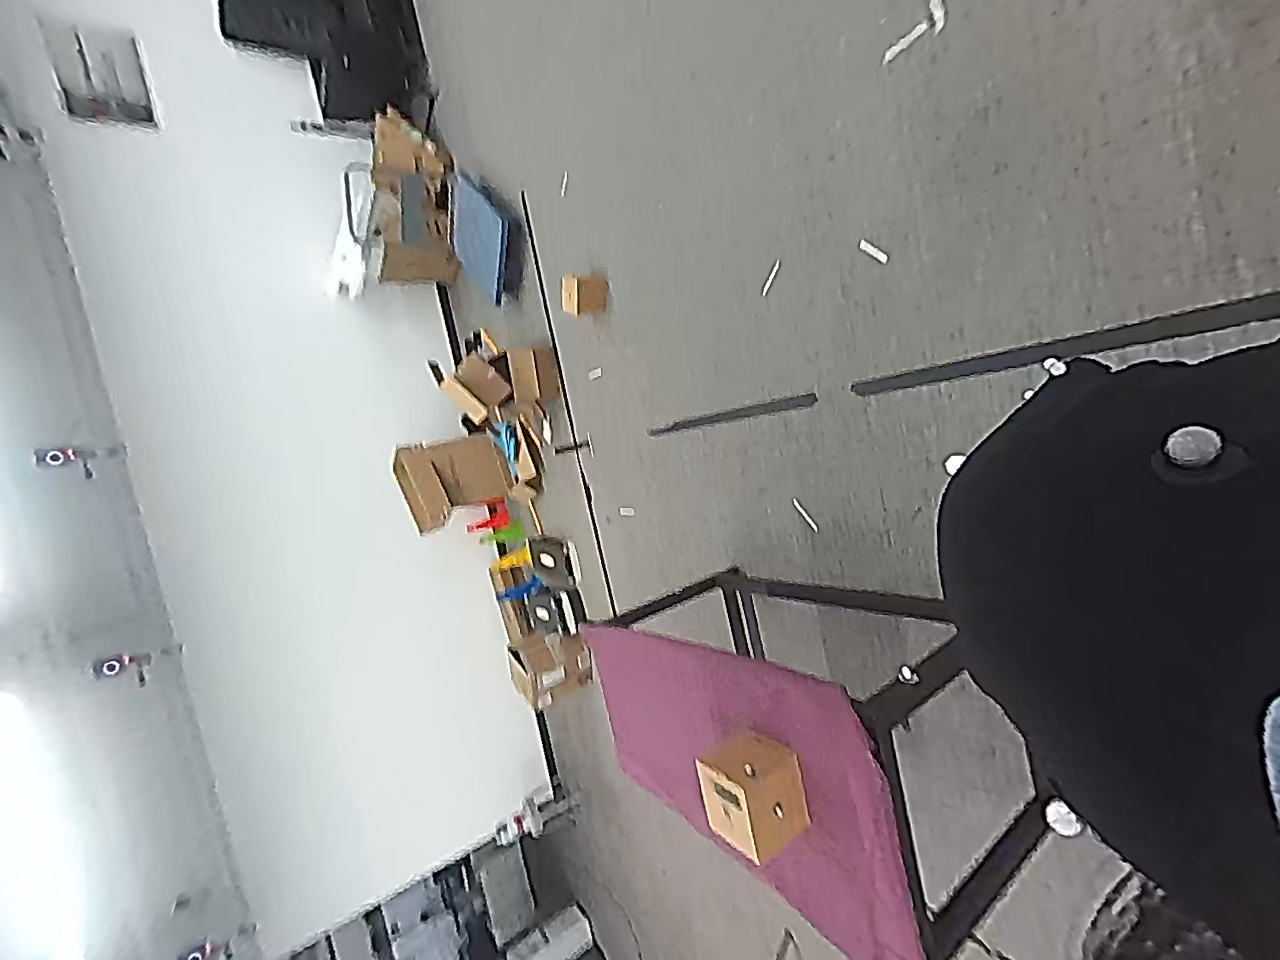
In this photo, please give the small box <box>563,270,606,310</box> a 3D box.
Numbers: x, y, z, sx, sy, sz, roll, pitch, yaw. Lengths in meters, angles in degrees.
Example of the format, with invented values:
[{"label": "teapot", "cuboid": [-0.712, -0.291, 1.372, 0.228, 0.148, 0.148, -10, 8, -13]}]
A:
[{"label": "small box", "cuboid": [-0.287, -0.986, 2.801, 0.168, 0.176, 0.179, 33, 128, 48]}]
